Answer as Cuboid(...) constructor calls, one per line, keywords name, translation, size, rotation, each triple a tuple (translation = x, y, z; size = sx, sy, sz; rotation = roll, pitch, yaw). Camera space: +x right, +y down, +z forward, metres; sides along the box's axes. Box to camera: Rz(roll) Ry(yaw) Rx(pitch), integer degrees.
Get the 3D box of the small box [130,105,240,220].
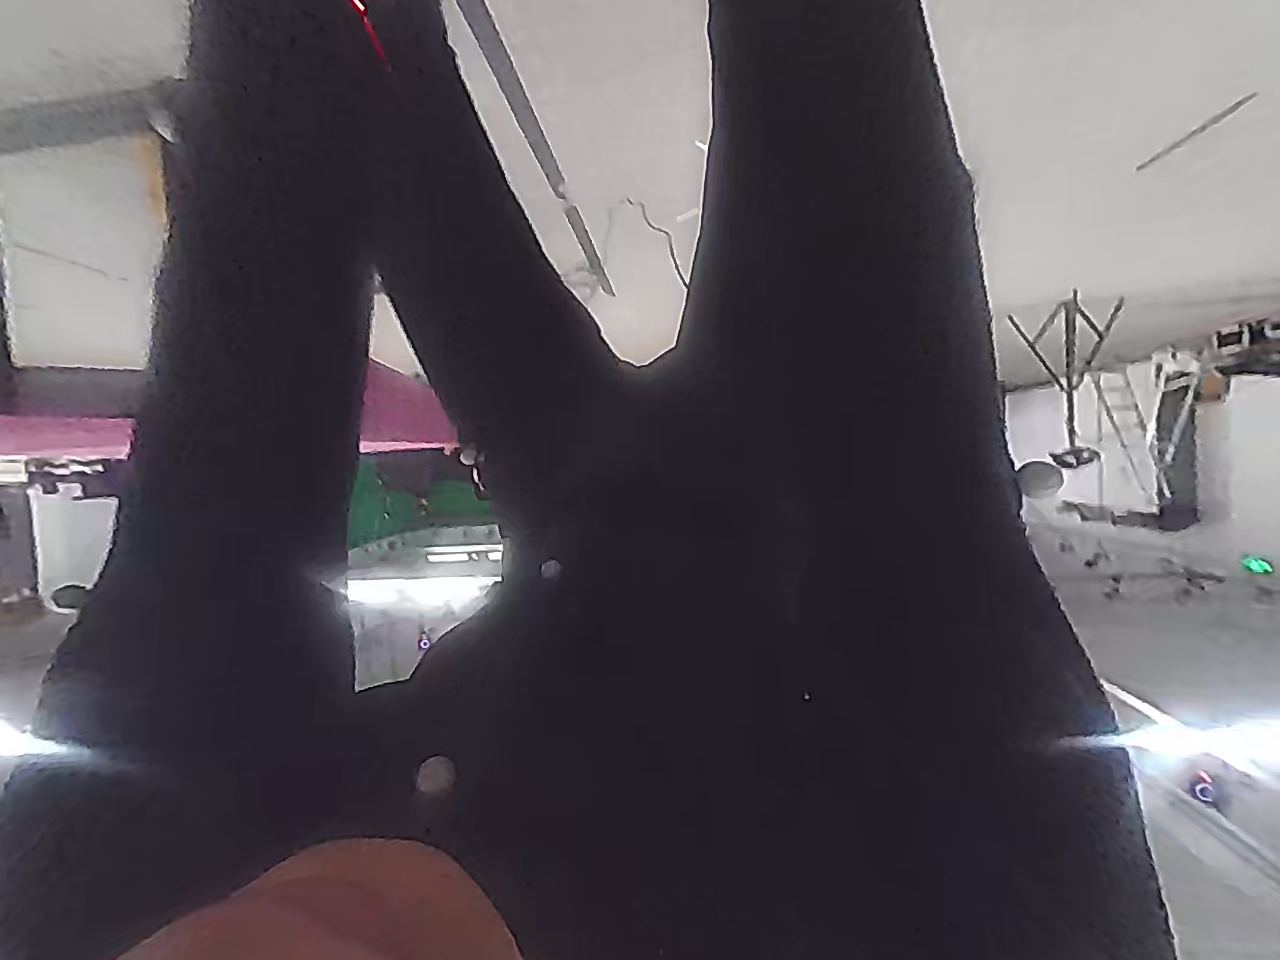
Cuboid(name="small box", translation=(-1.121, -0.773, 1.330), size=(0.179, 0.176, 0.168), rotation=(0, -174, 34))
